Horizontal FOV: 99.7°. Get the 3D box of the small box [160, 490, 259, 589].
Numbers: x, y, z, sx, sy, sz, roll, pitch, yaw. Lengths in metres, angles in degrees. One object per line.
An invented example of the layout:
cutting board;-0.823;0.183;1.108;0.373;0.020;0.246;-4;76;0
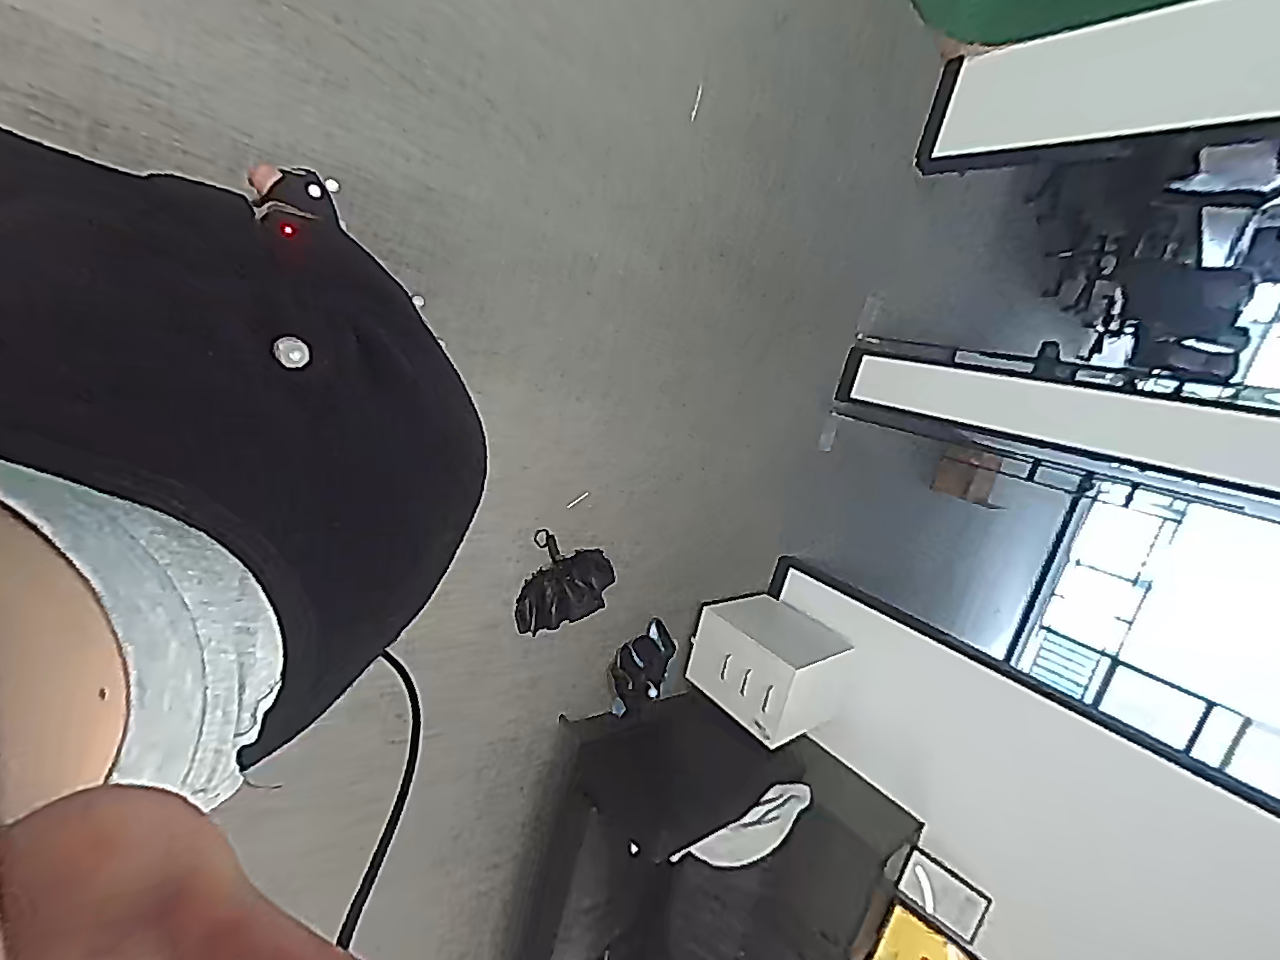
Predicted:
small box;-1.002;0.133;1.256;0.168;0.176;0.179;2;105;-43
